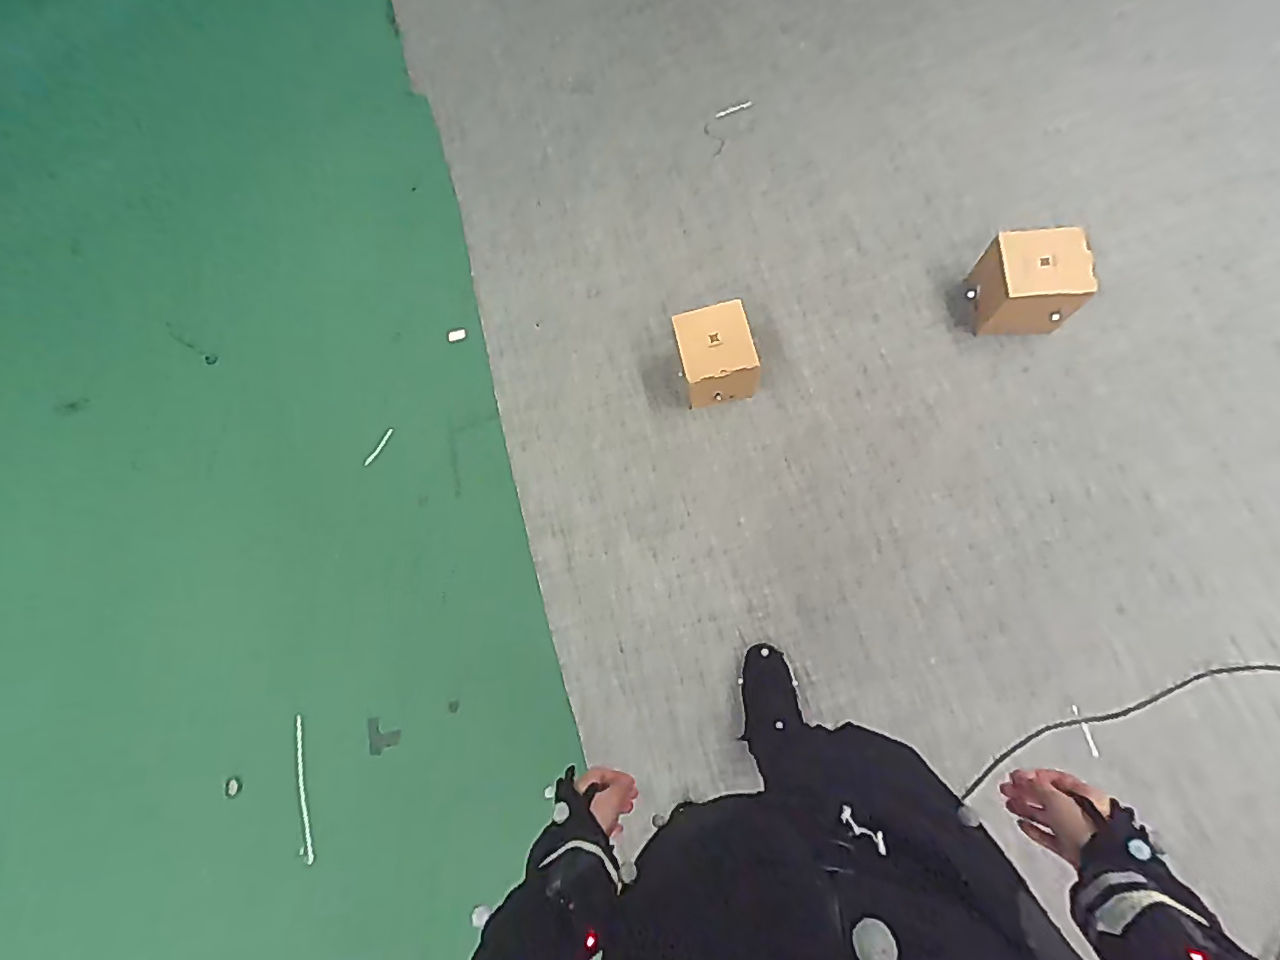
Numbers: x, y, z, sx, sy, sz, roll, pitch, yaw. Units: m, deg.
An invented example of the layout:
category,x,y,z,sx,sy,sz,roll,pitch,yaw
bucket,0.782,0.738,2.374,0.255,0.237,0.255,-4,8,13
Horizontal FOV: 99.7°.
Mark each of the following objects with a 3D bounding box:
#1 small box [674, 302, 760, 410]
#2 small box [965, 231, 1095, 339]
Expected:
category,x,y,z,sx,sy,sz,roll,pitch,yaw
small box,0.181,-0.291,1.301,0.168,0.176,0.179,-14,74,4
small box,0.884,-0.440,1.243,0.179,0.176,0.168,-2,74,8
